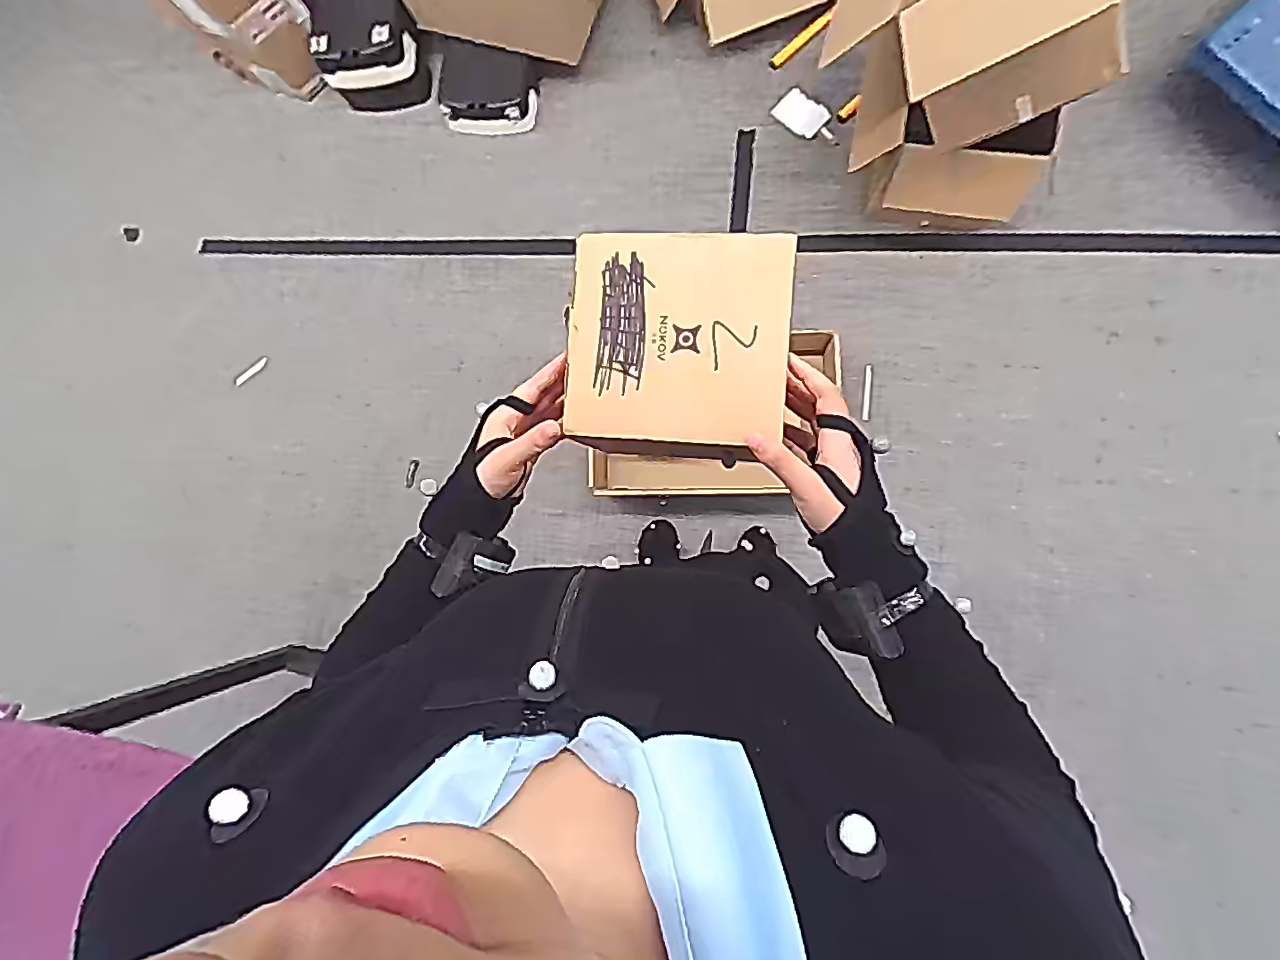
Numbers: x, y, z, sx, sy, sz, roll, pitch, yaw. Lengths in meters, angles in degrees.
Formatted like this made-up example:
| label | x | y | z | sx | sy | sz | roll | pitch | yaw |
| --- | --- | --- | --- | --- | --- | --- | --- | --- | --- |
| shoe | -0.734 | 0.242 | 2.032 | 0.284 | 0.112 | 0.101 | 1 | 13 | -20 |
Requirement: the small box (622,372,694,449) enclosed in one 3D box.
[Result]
| label | x | y | z | sx | sy | sz | roll | pitch | yaw |
| --- | --- | --- | --- | --- | --- | --- | --- | --- | --- |
| small box | 0.051 | -0.175 | 1.400 | 0.179 | 0.176 | 0.168 | -2 | 84 | 7 |

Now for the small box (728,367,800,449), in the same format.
| label | x | y | z | sx | sy | sz | roll | pitch | yaw |
| --- | --- | --- | --- | --- | --- | --- | --- | --- | --- |
| small box | 0.308 | -0.177 | 1.366 | 0.168 | 0.176 | 0.179 | 0 | 86 | 9 |
